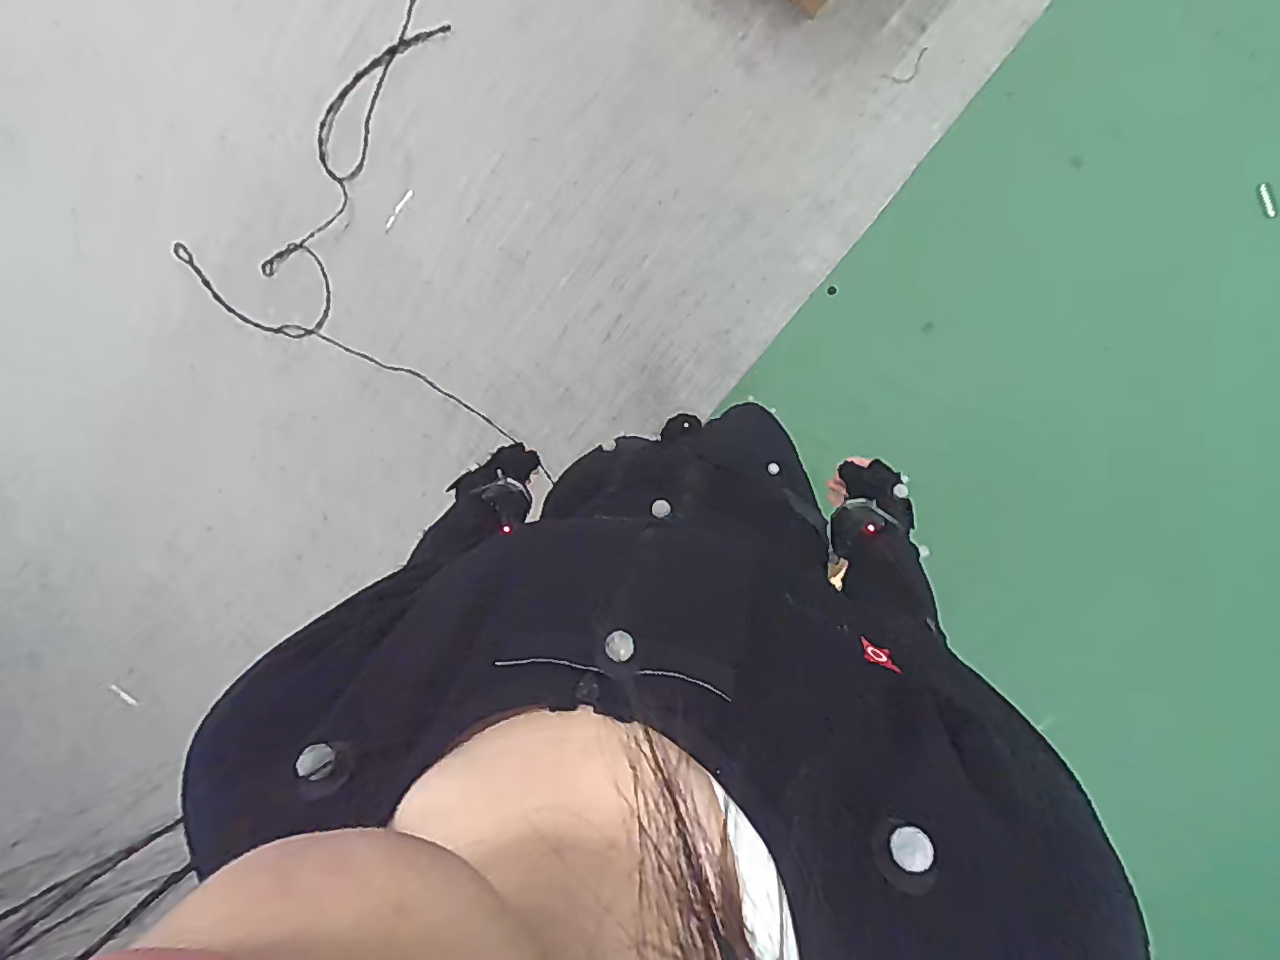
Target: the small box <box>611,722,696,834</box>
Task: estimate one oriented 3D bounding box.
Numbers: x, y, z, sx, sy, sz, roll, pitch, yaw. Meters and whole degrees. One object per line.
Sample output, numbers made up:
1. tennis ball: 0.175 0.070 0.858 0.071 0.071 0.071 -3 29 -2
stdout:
1. small box: 0.043 0.833 1.524 0.168 0.176 0.179 41 99 -2
